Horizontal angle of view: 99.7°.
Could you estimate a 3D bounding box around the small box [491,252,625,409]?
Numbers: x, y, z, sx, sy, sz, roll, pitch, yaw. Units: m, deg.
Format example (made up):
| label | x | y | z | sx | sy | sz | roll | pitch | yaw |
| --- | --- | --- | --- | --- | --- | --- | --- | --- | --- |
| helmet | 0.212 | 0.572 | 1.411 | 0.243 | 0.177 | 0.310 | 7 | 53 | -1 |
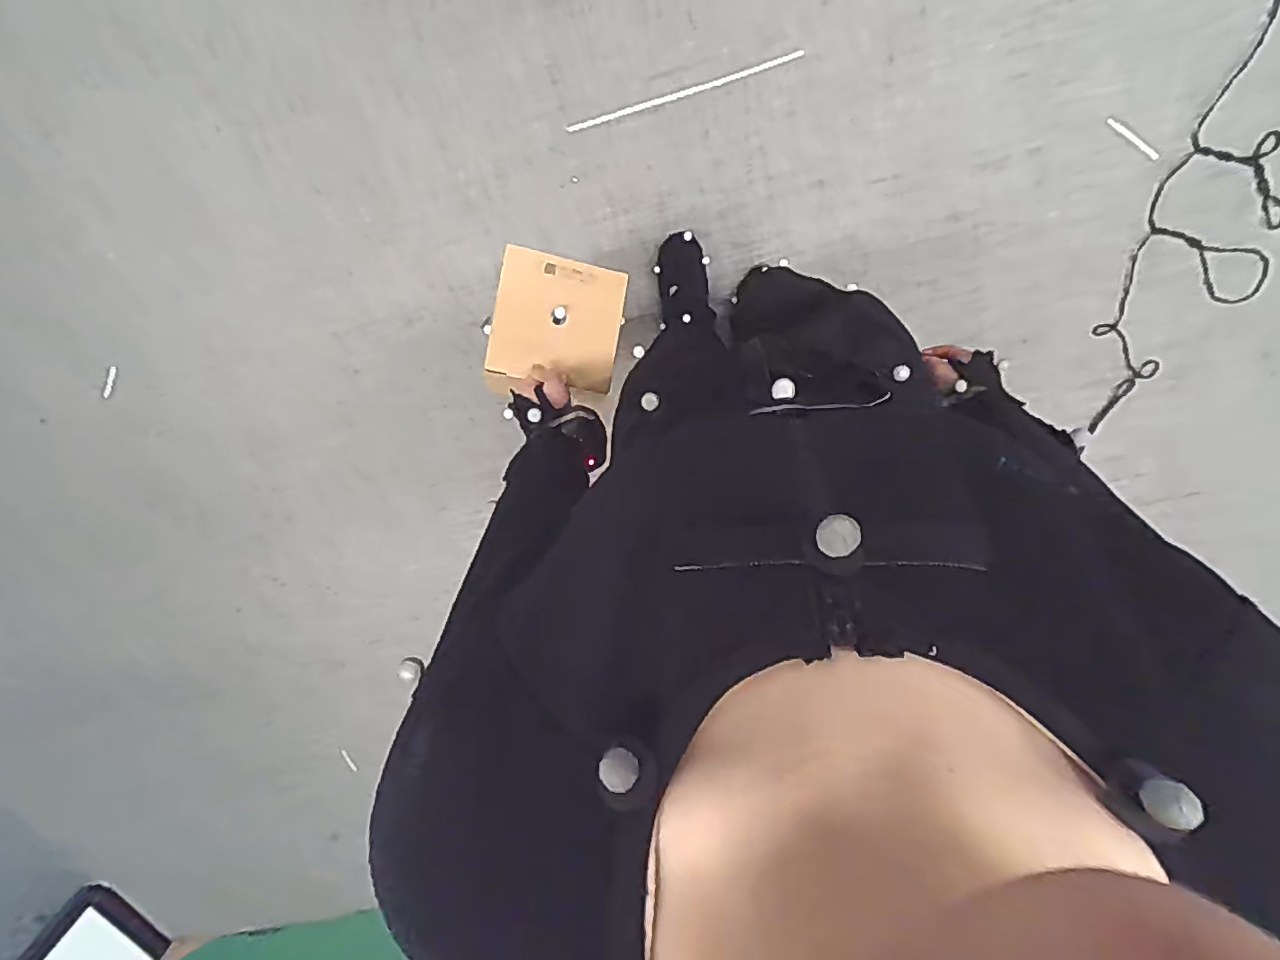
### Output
| label | x | y | z | sx | sy | sz | roll | pitch | yaw |
| --- | --- | --- | --- | --- | --- | --- | --- | --- | --- |
| small box | -0.123 | -0.209 | 0.791 | 0.168 | 0.179 | 0.176 | 9 | 88 | -13 |
